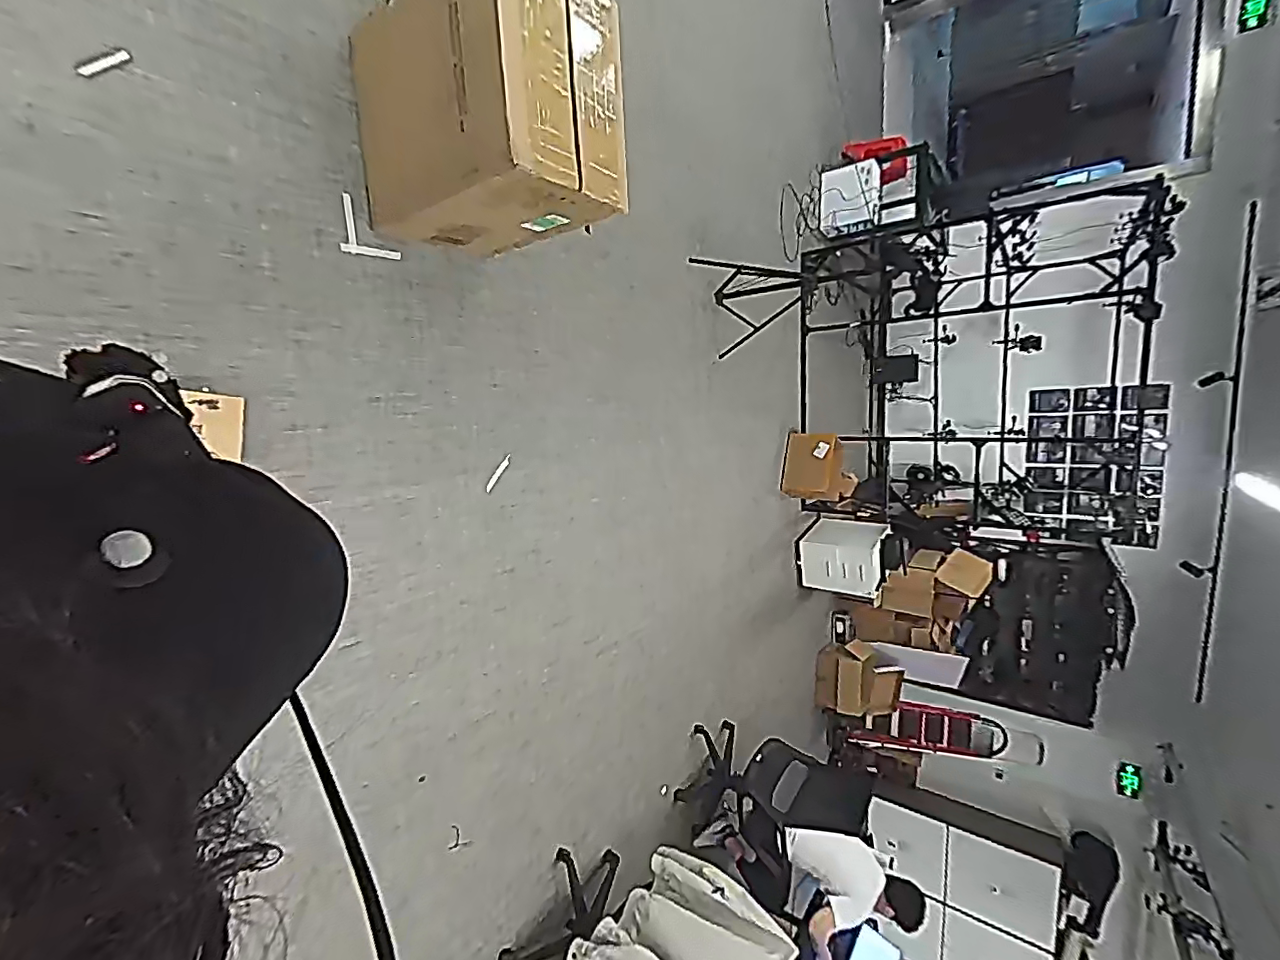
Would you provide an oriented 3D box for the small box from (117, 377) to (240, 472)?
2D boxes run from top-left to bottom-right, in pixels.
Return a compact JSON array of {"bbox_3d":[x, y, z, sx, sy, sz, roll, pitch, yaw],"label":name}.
[{"bbox_3d":[-0.988,-0.115,1.157,0.168,0.176,0.179,4,90,-53],"label":"small box"}]
